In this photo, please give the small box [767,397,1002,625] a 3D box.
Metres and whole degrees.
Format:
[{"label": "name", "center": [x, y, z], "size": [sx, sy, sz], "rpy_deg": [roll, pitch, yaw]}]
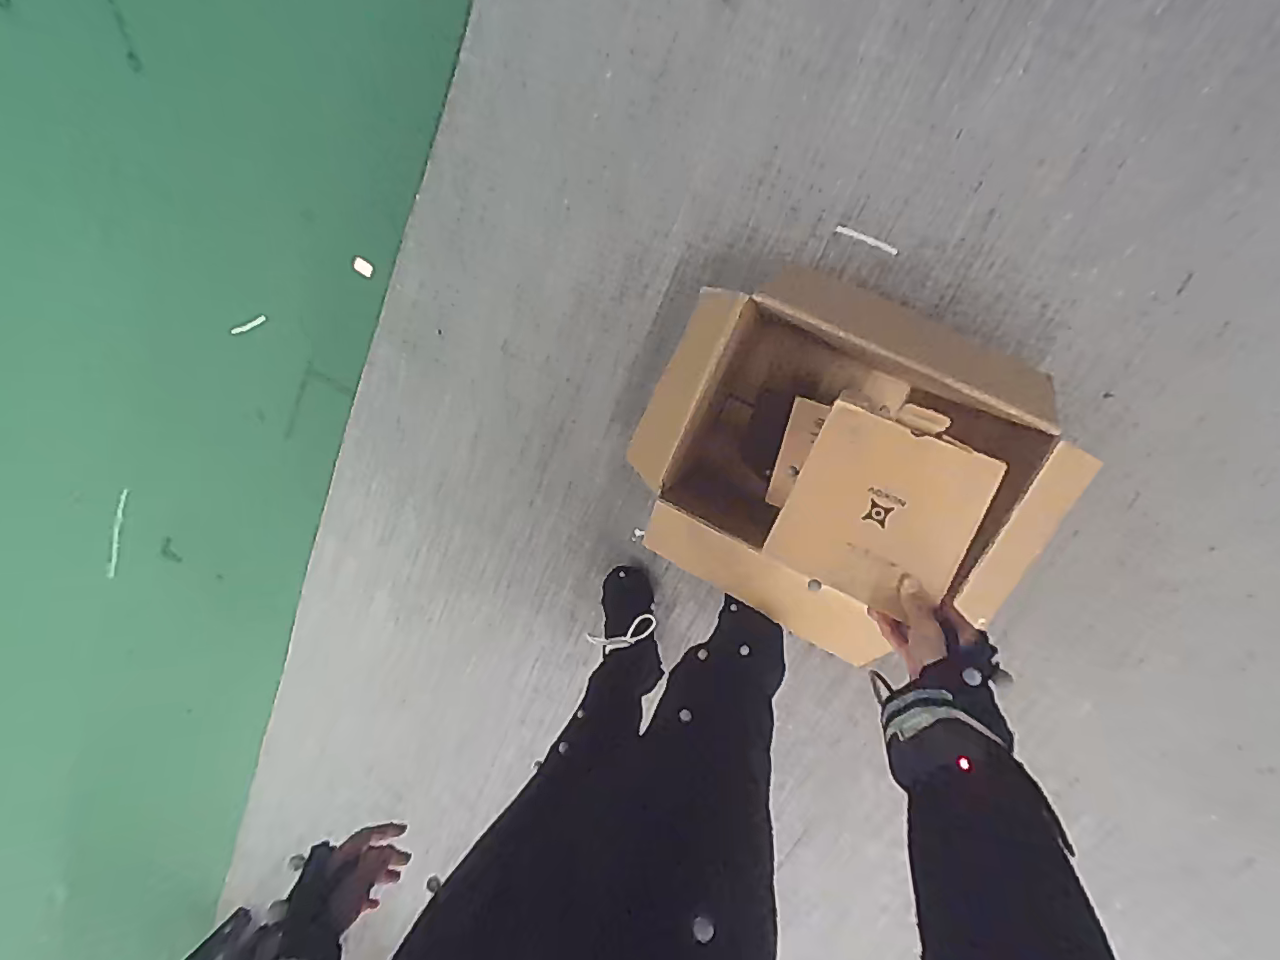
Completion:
[{"label": "small box", "center": [0.252, 0.035, 0.602], "size": [0.168, 0.176, 0.179], "rpy_deg": [25, 90, 16]}]
